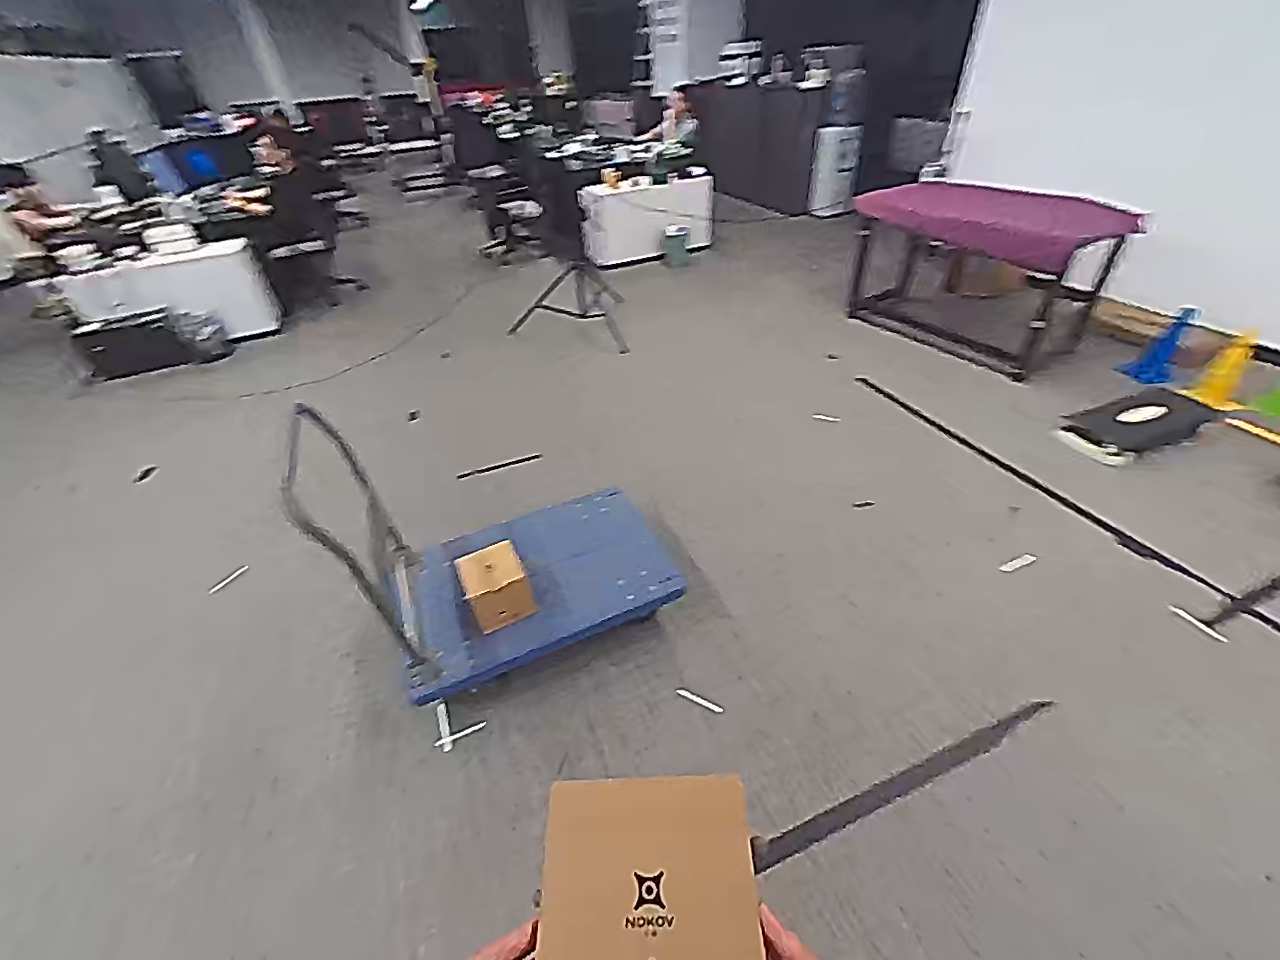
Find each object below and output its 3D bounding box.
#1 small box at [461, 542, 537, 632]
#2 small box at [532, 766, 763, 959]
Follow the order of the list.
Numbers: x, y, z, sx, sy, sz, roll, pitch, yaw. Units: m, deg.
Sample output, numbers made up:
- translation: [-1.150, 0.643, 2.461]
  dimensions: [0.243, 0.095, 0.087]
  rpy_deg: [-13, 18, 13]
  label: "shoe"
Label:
- translation: [-0.430, 0.327, 1.648]
  dimensions: [0.168, 0.176, 0.179]
  rpy_deg: [-21, 42, -20]
  label: "small box"
- translation: [0.009, 0.367, 0.460]
  dimensions: [0.168, 0.176, 0.179]
  rpy_deg: [-5, 45, 2]
  label: "small box"
